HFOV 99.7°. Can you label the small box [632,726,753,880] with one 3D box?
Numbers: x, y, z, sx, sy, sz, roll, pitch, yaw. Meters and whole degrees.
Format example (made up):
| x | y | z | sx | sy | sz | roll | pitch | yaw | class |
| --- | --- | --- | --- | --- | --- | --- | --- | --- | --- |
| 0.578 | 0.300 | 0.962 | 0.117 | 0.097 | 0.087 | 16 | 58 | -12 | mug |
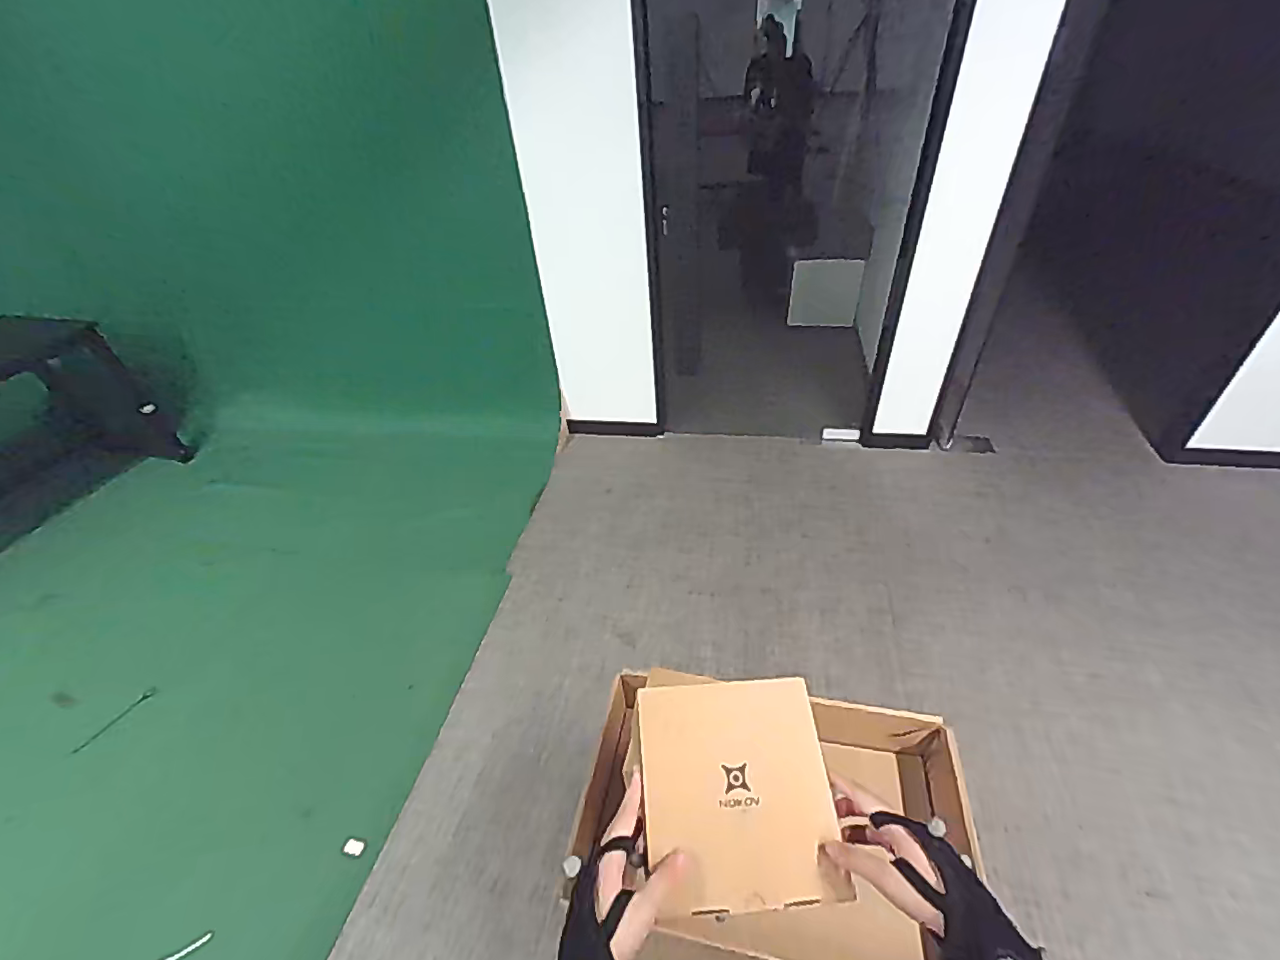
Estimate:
| x | y | z | sx | sy | sz | roll | pitch | yaw | class |
| --- | --- | --- | --- | --- | --- | --- | --- | --- | --- |
| 0.097 | 0.557 | 0.930 | 0.179 | 0.176 | 0.168 | 5 | 40 | 14 | small box |
